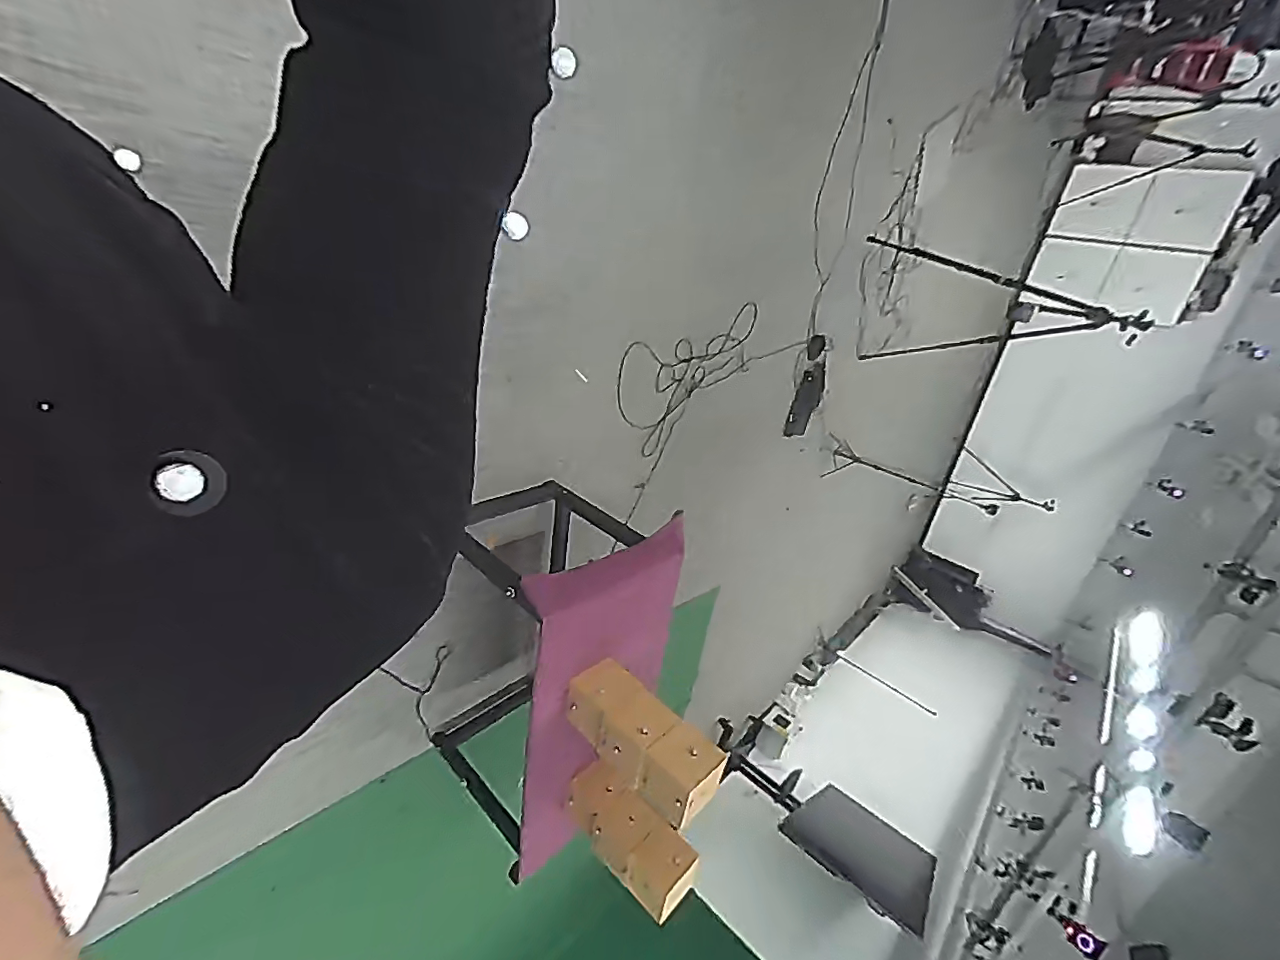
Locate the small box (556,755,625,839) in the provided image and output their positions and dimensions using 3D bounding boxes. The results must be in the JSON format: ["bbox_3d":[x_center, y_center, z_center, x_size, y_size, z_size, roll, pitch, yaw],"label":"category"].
[{"bbox_3d":[-0.185,1.164,2.002,0.179,0.176,0.168,-13,122,-46],"label":"small box"}]

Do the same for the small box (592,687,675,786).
[{"bbox_3d":[-0.024,0.773,1.647,0.179,0.176,0.168,-15,125,-46],"label":"small box"}]

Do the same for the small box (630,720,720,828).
[{"bbox_3d":[0.099,0.836,1.559,0.179,0.176,0.168,-17,125,-45],"label":"small box"}]

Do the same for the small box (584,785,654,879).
[{"bbox_3d":[-0.077,1.226,1.894,0.179,0.176,0.168,-18,126,-46],"label":"small box"}]

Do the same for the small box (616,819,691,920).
[{"bbox_3d":[0.041,1.292,1.805,0.179,0.176,0.168,-18,125,-46],"label":"small box"}]
